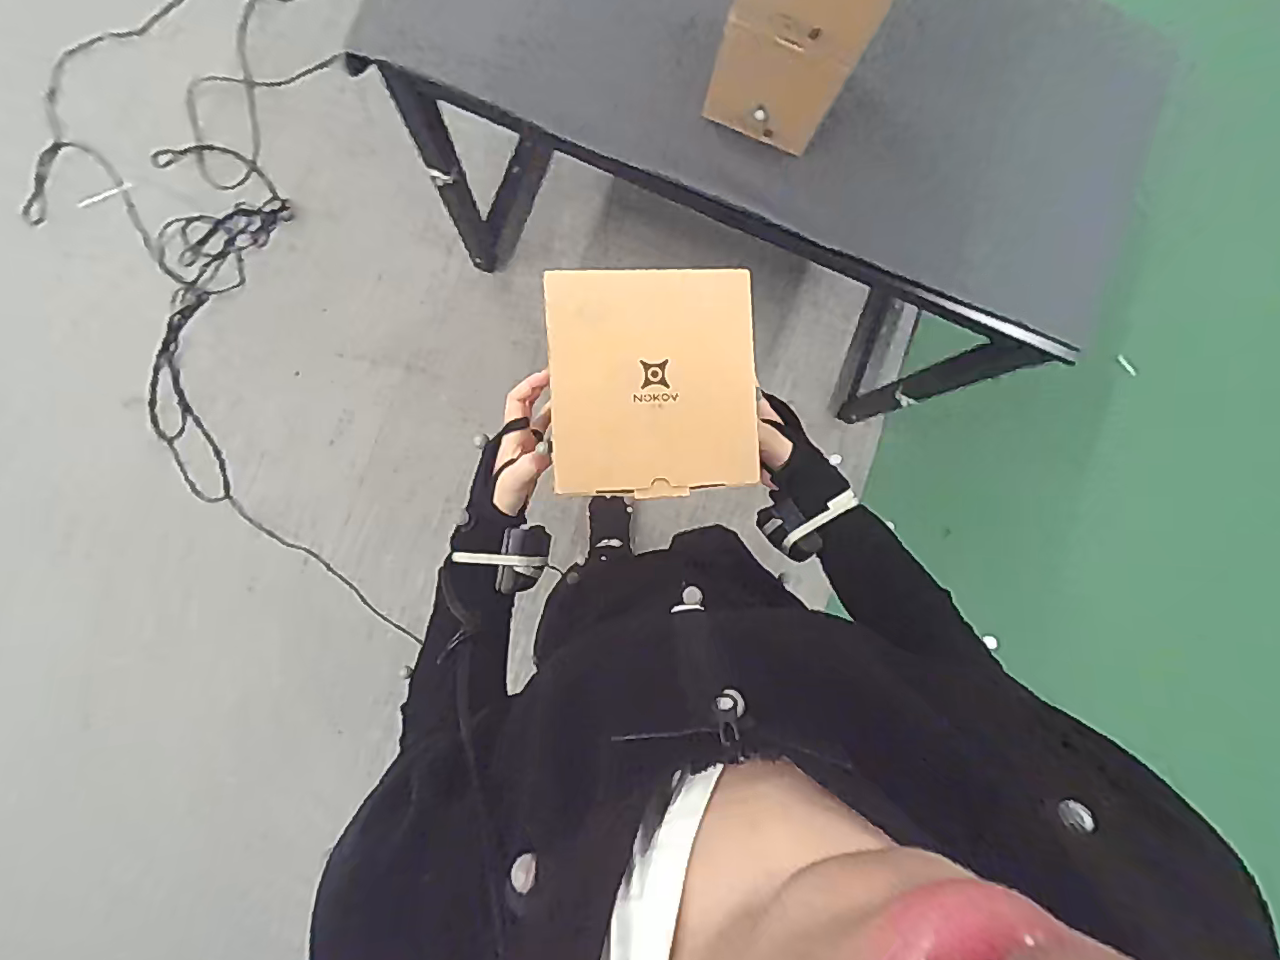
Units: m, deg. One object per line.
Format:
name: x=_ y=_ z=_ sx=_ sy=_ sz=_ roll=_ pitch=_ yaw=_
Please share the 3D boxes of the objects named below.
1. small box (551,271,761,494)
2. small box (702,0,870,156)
small box: x=0.003 y=-0.077 z=0.507 sx=0.168 sy=0.176 sz=0.179 roll=-3 pitch=90 yaw=-8
small box: x=0.199 y=-0.609 z=0.757 sx=0.168 sy=0.176 sz=0.179 roll=20 pitch=85 yaw=-4
